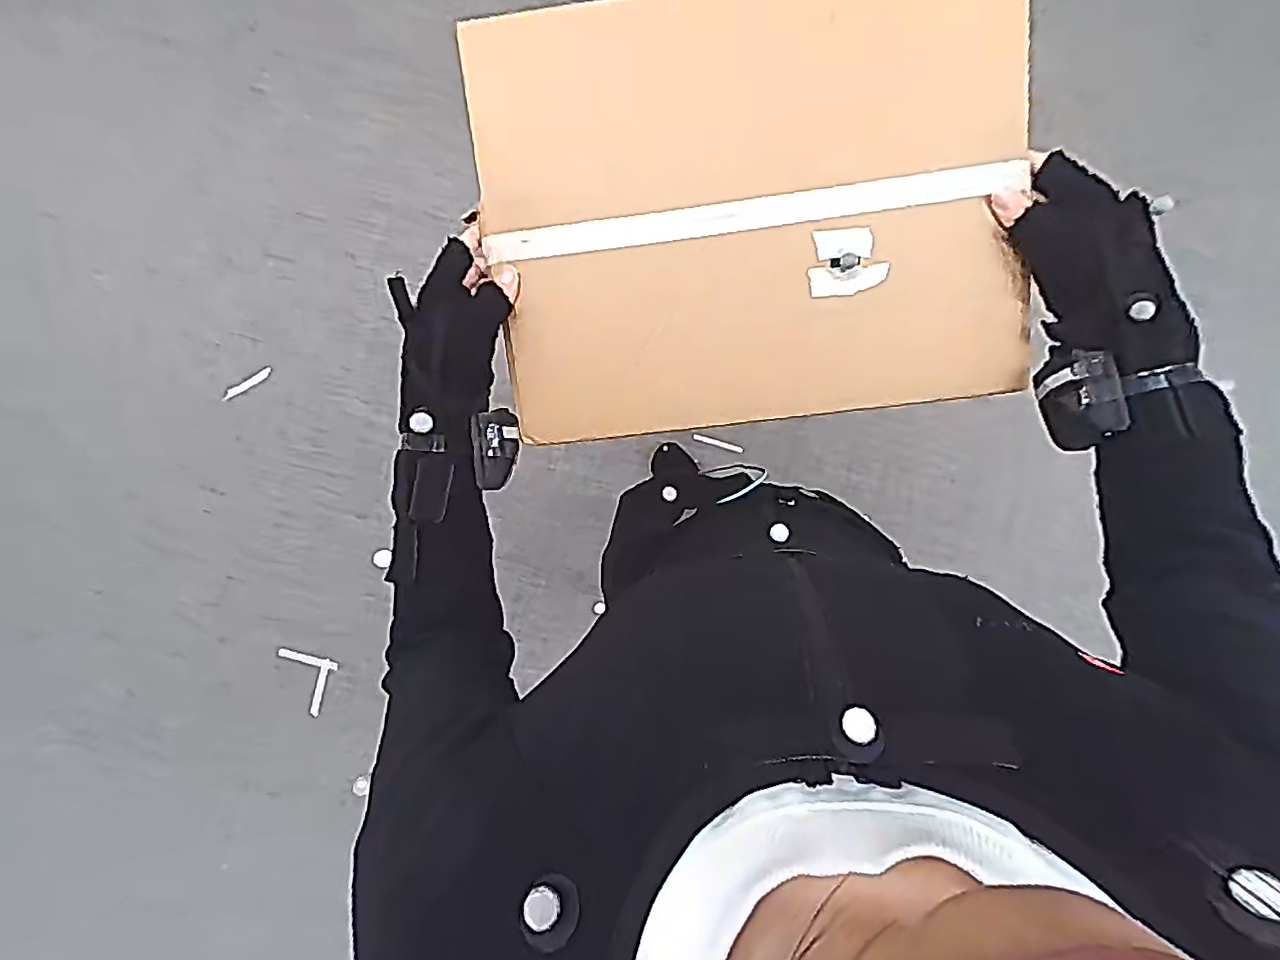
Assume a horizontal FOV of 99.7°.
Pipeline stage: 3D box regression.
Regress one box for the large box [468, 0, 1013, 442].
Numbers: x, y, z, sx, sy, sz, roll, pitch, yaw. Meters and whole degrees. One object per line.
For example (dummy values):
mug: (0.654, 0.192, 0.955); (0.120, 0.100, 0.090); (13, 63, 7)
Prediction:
large box: (0.087, -0.232, 0.569); (0.408, 0.320, 0.320); (-7, 100, 3)
